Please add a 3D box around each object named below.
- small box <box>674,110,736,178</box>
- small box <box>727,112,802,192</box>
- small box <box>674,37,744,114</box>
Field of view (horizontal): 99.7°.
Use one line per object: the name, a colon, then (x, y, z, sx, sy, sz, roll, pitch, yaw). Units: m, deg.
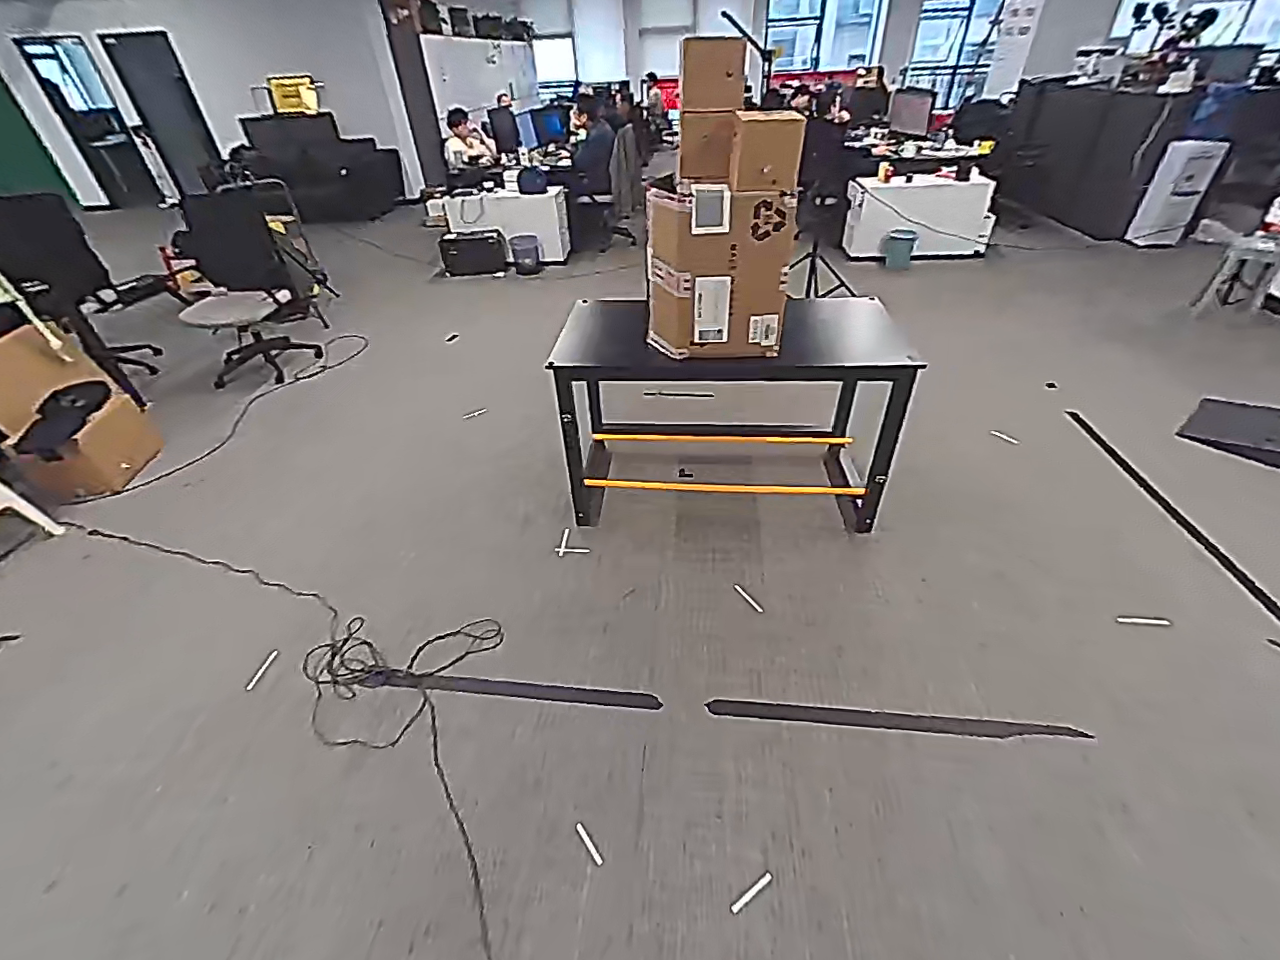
small box: (0.195, -1.028, 1.653, 0.179, 0.176, 0.168, -1, 36, 2)
small box: (0.335, -0.910, 1.496, 0.168, 0.176, 0.179, 0, 39, 2)
small box: (0.192, -1.158, 1.553, 0.179, 0.176, 0.168, -2, 35, 0)
